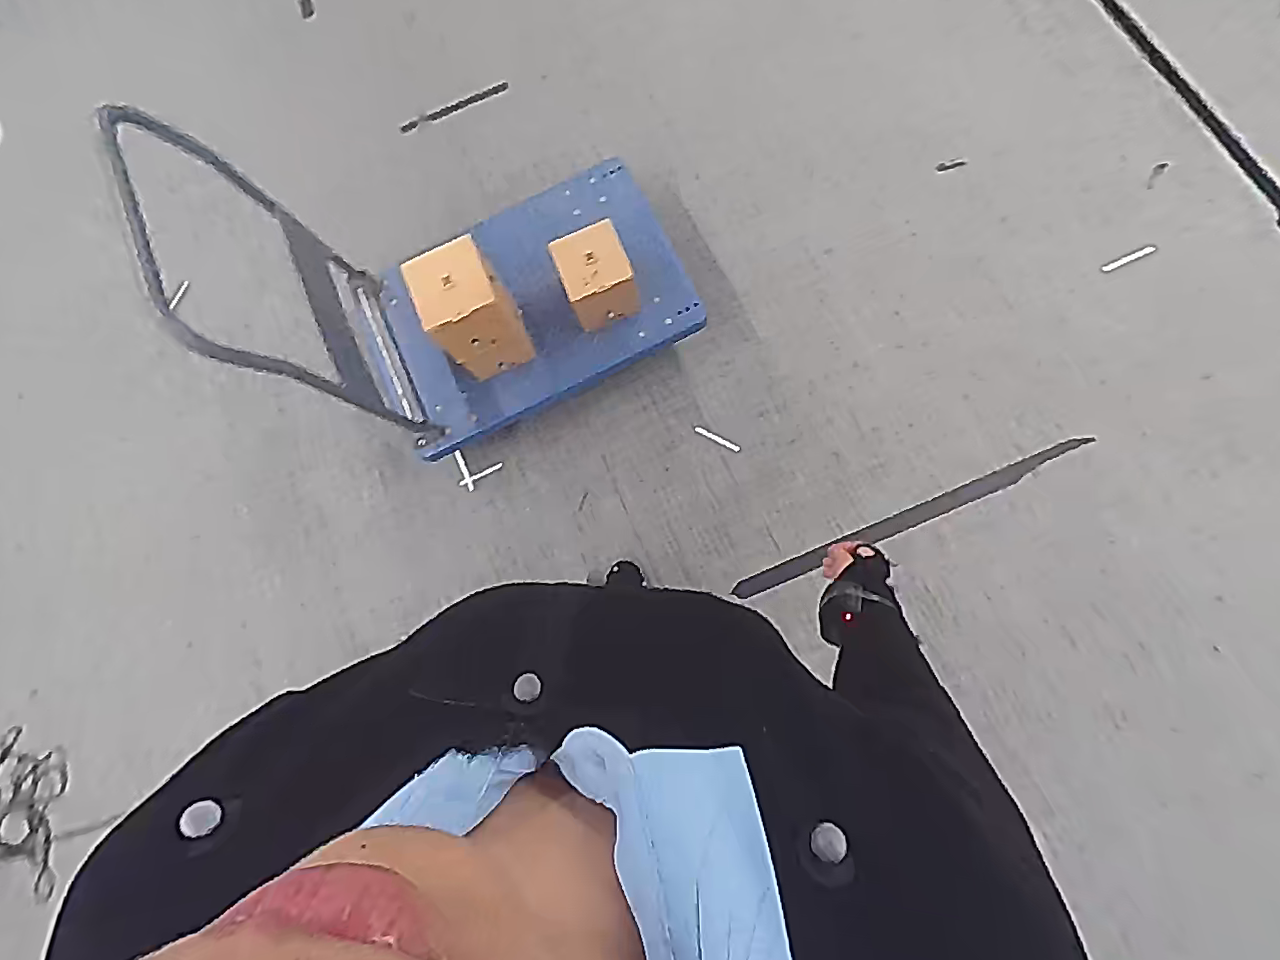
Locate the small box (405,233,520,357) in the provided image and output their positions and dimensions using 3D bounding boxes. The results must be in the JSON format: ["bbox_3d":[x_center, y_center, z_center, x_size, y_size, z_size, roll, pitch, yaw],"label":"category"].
[{"bbox_3d":[-0.392,-0.409,1.220,0.168,0.176,0.179,-24,79,0],"label":"small box"}]

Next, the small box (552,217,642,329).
[{"bbox_3d":[-0.104,-0.520,1.379,0.168,0.176,0.179,-22,78,2],"label":"small box"}]
